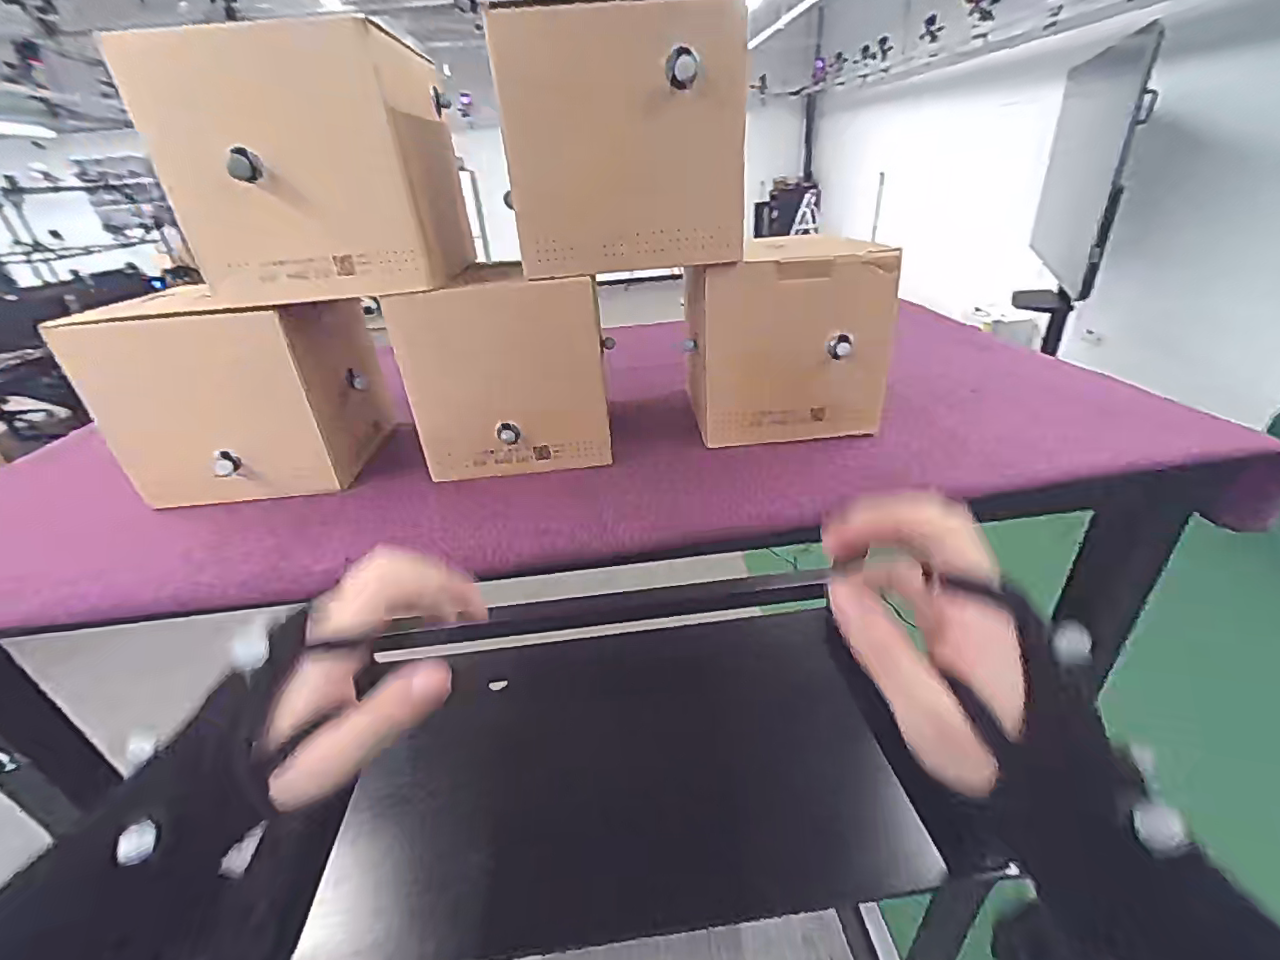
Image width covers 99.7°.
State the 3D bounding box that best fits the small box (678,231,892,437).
[{"bbox_3d":[0.131,-0.148,0.551,0.168,0.176,0.179,-4,28,0],"label":"small box"}]

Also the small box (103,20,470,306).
[{"bbox_3d":[-0.253,-0.246,0.449,0.168,0.176,0.179,-6,29,-1],"label":"small box"}]

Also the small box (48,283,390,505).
[{"bbox_3d":[-0.370,-0.091,0.525,0.179,0.176,0.168,-5,29,-3],"label":"small box"}]

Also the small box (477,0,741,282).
[{"bbox_3d":[-0.019,-0.274,0.459,0.179,0.176,0.168,-6,29,-1],"label":"small box"}]
